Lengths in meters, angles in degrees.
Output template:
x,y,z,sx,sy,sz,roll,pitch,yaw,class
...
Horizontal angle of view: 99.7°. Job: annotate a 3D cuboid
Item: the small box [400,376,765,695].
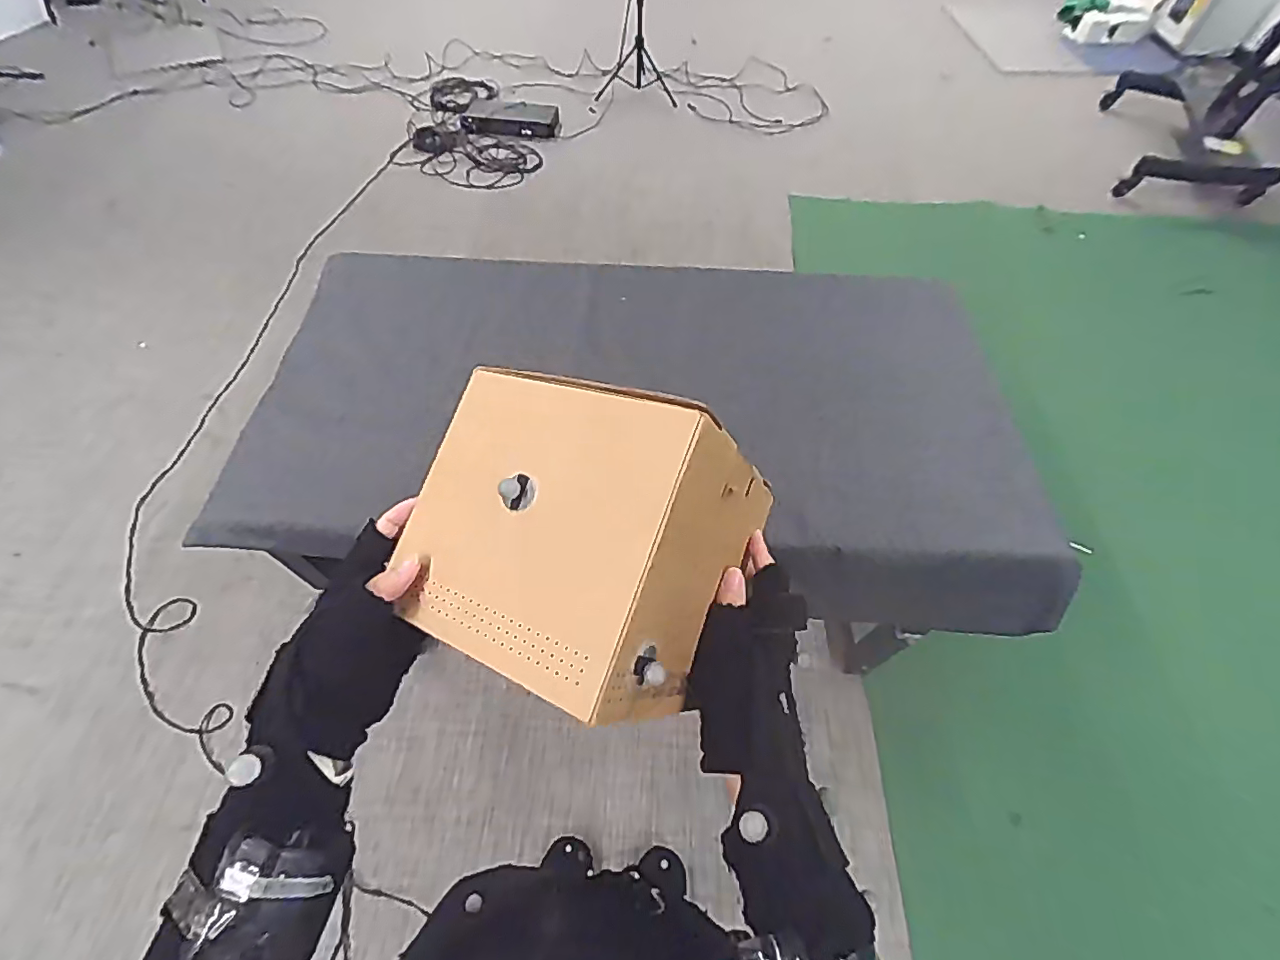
x,y,z,sx,sy,sz,roll,pitch,yaw,class
-0.032,0.045,0.394,0.179,0.168,0.176,14,78,30,small box
